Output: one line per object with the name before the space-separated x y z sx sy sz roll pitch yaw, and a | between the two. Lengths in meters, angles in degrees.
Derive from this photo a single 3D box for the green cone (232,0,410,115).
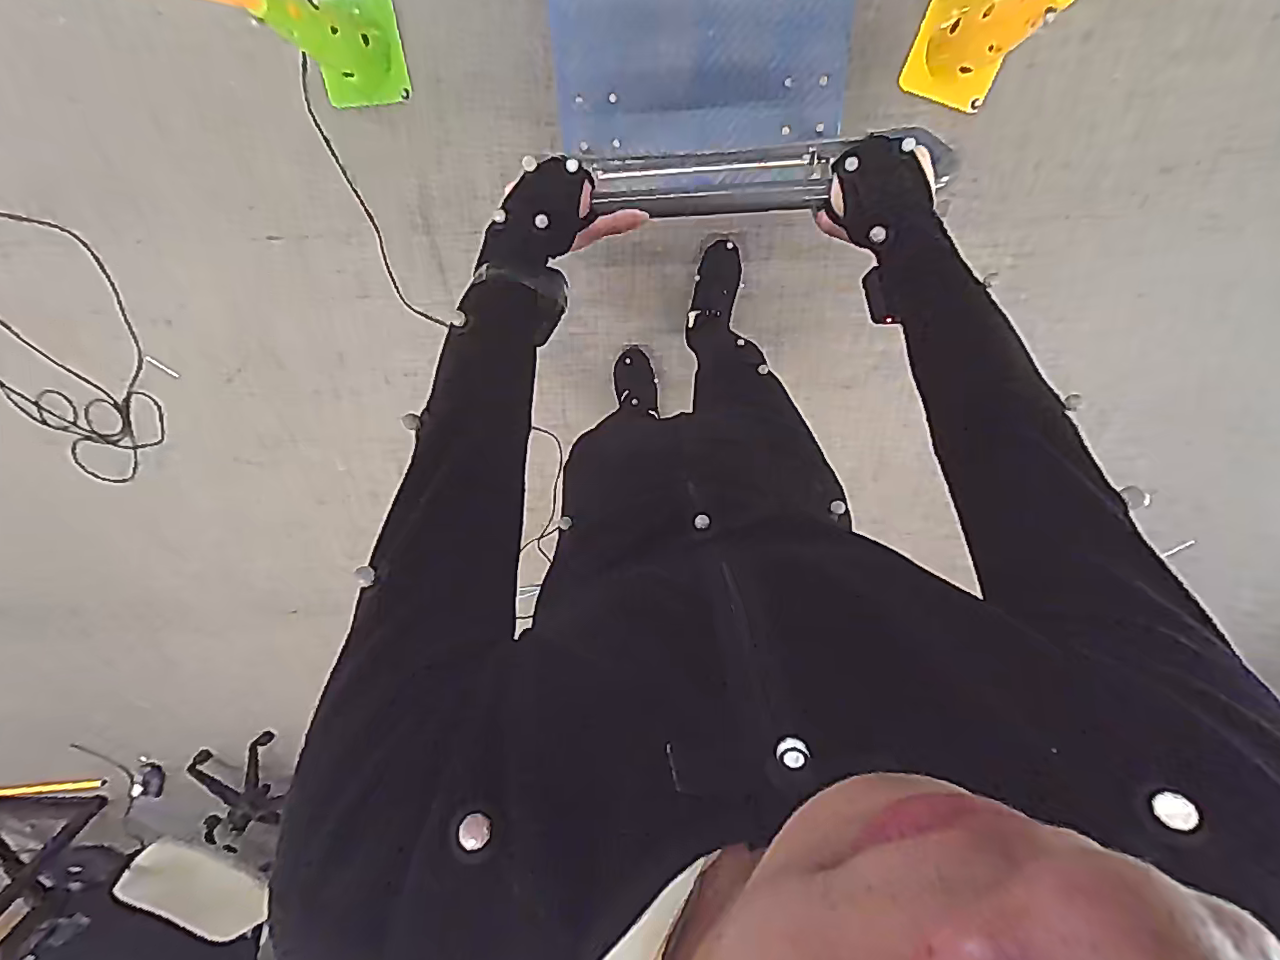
green cone | -0.644 -0.874 1.061 0.202 0.368 0.200 -3 116 6
